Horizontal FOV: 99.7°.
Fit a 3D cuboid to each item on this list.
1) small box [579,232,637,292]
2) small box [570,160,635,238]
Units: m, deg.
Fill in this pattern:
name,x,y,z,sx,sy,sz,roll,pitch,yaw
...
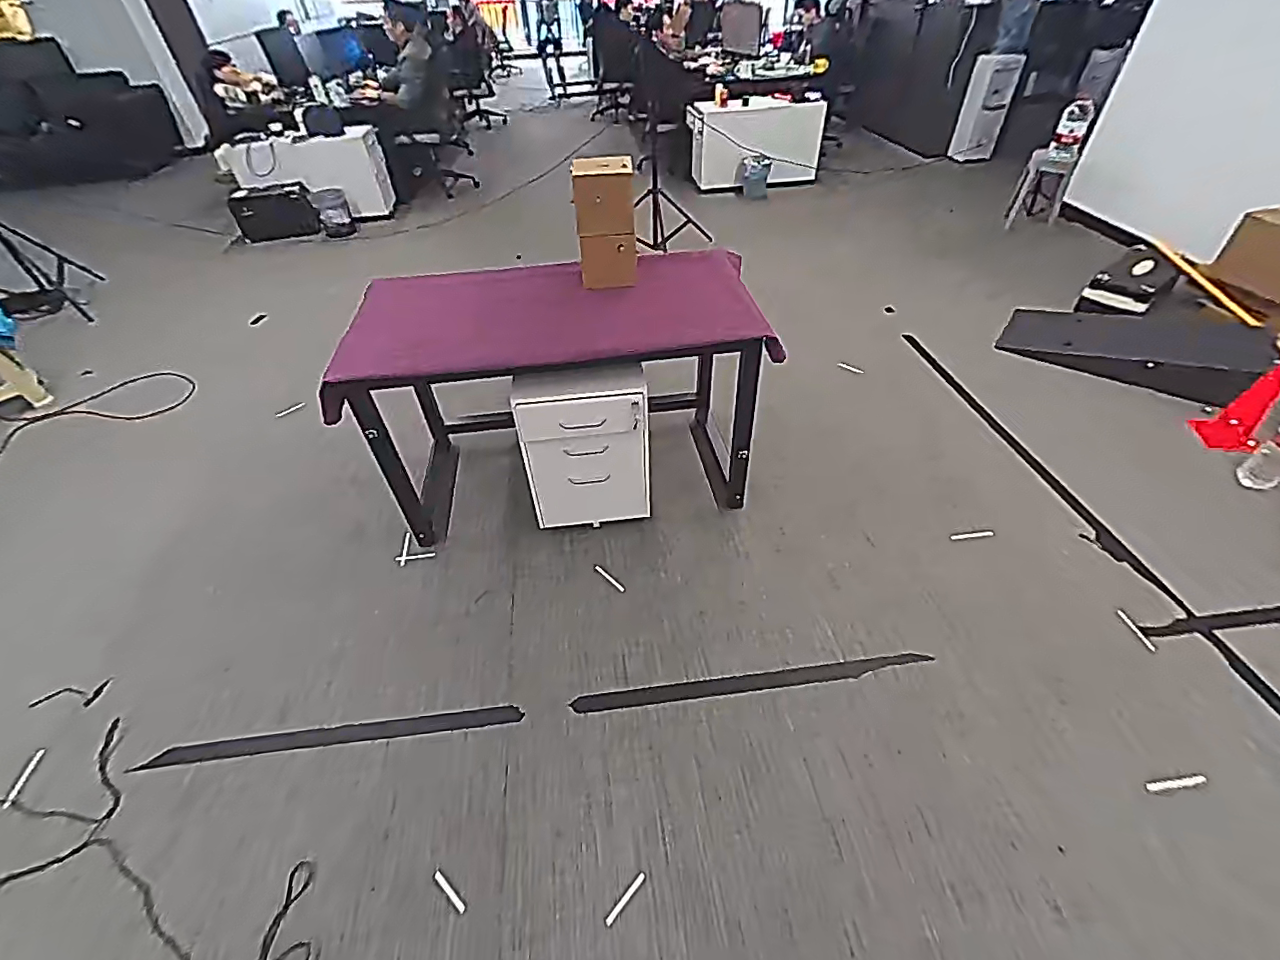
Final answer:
name,x,y,z,sx,sy,sz,roll,pitch,yaw
small box,-0.101,-0.724,1.741,0.179,0.176,0.168,-5,44,-1
small box,-0.109,-0.842,1.628,0.179,0.176,0.168,-4,45,0
